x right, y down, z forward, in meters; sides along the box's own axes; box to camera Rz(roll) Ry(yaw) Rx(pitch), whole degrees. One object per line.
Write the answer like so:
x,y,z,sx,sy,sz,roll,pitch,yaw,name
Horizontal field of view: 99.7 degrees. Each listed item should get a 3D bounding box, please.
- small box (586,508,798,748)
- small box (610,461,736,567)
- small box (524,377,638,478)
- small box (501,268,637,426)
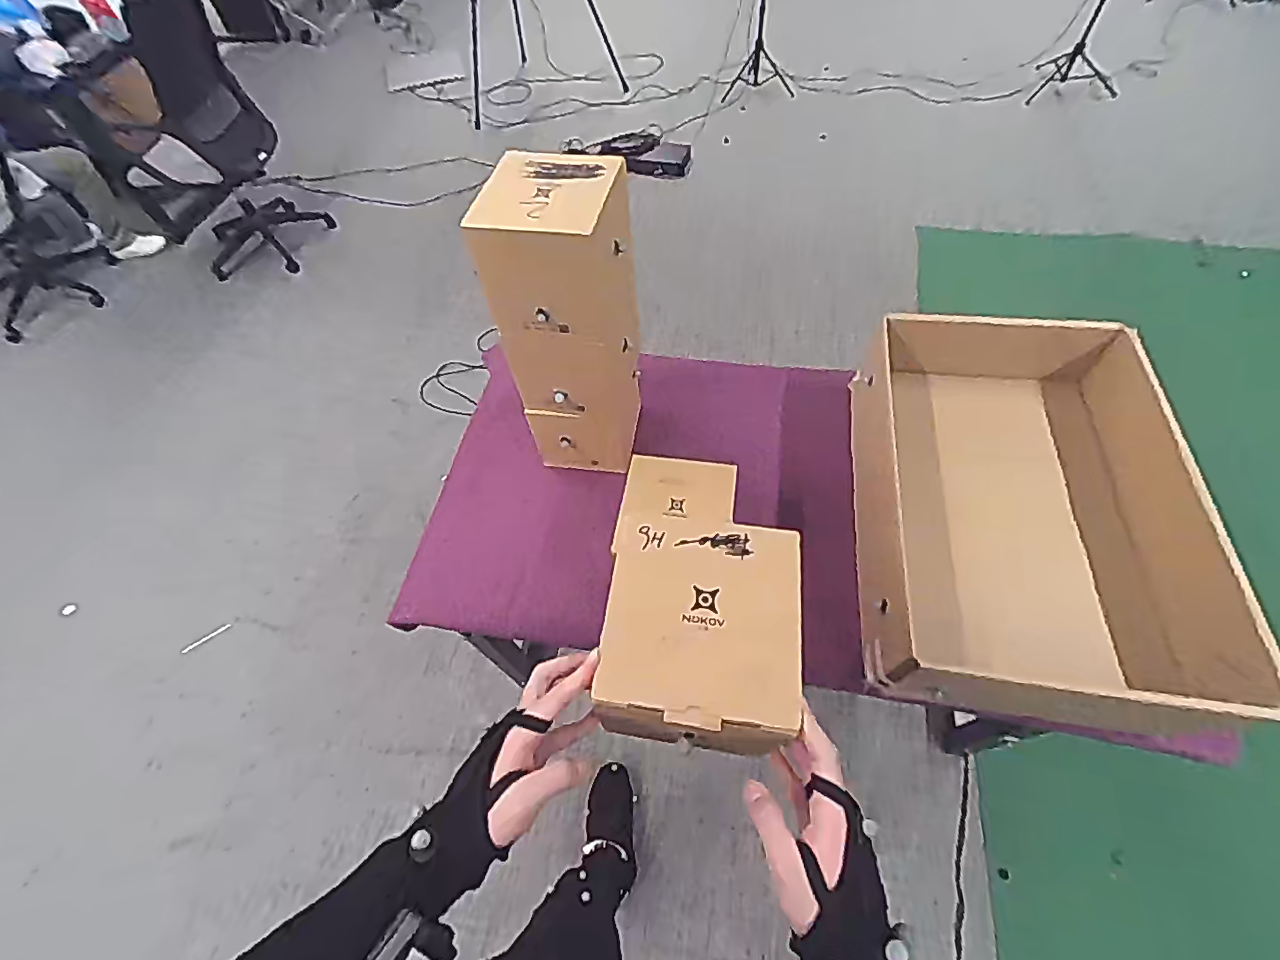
0.053,0.151,0.530,0.168,0.176,0.179,7,58,6,small box
0.057,0.096,0.855,0.168,0.176,0.179,7,55,8,small box
-0.099,-0.121,1.015,0.168,0.176,0.179,5,56,8,small box
-0.102,-0.214,0.879,0.168,0.176,0.179,8,58,10,small box
